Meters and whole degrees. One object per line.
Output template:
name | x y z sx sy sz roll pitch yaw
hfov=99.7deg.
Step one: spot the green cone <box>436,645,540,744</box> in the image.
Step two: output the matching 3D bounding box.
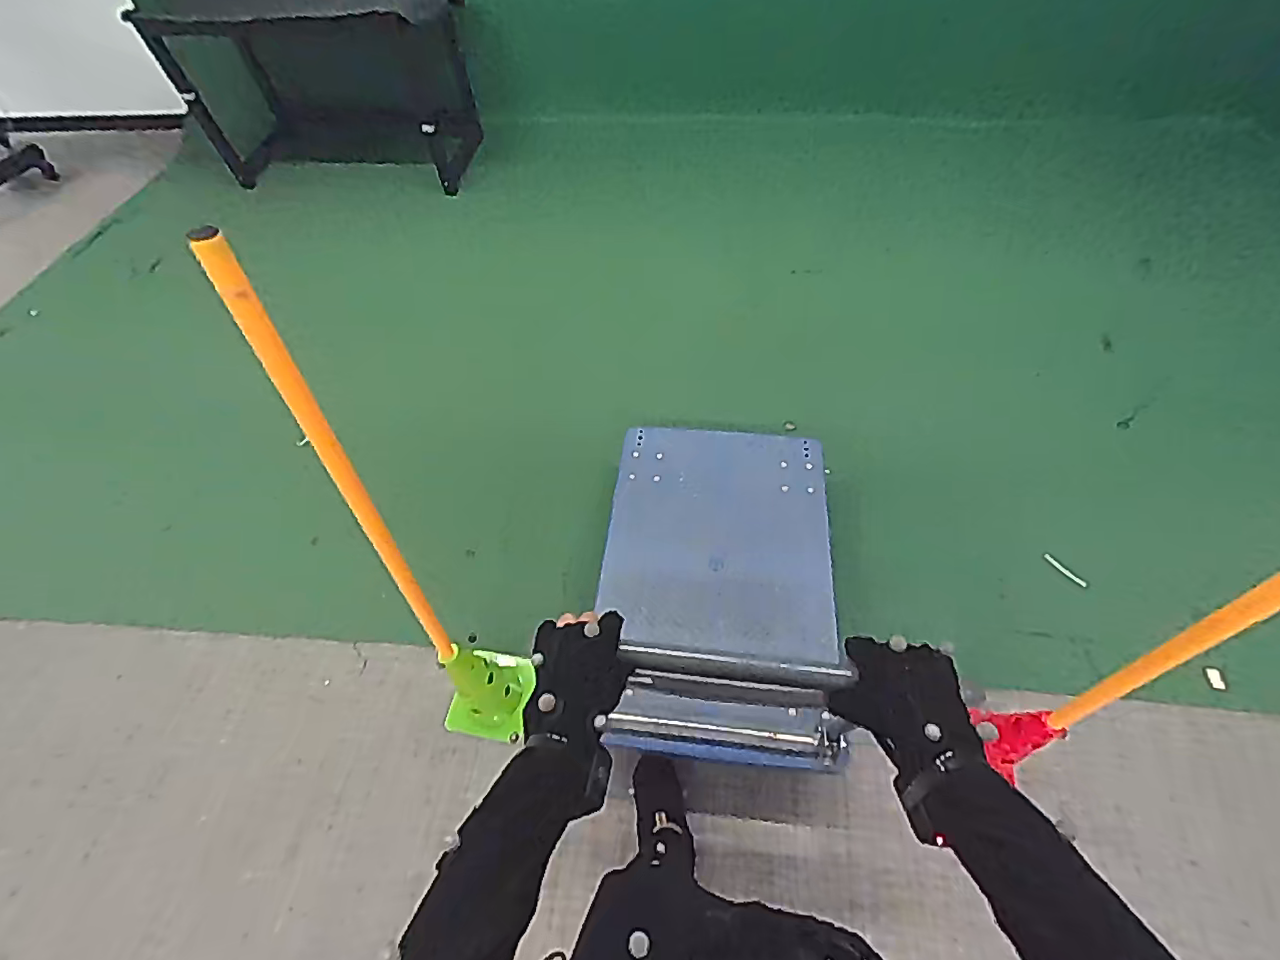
green cone | -0.379 0.454 1.240 0.202 0.368 0.200 7 55 8
